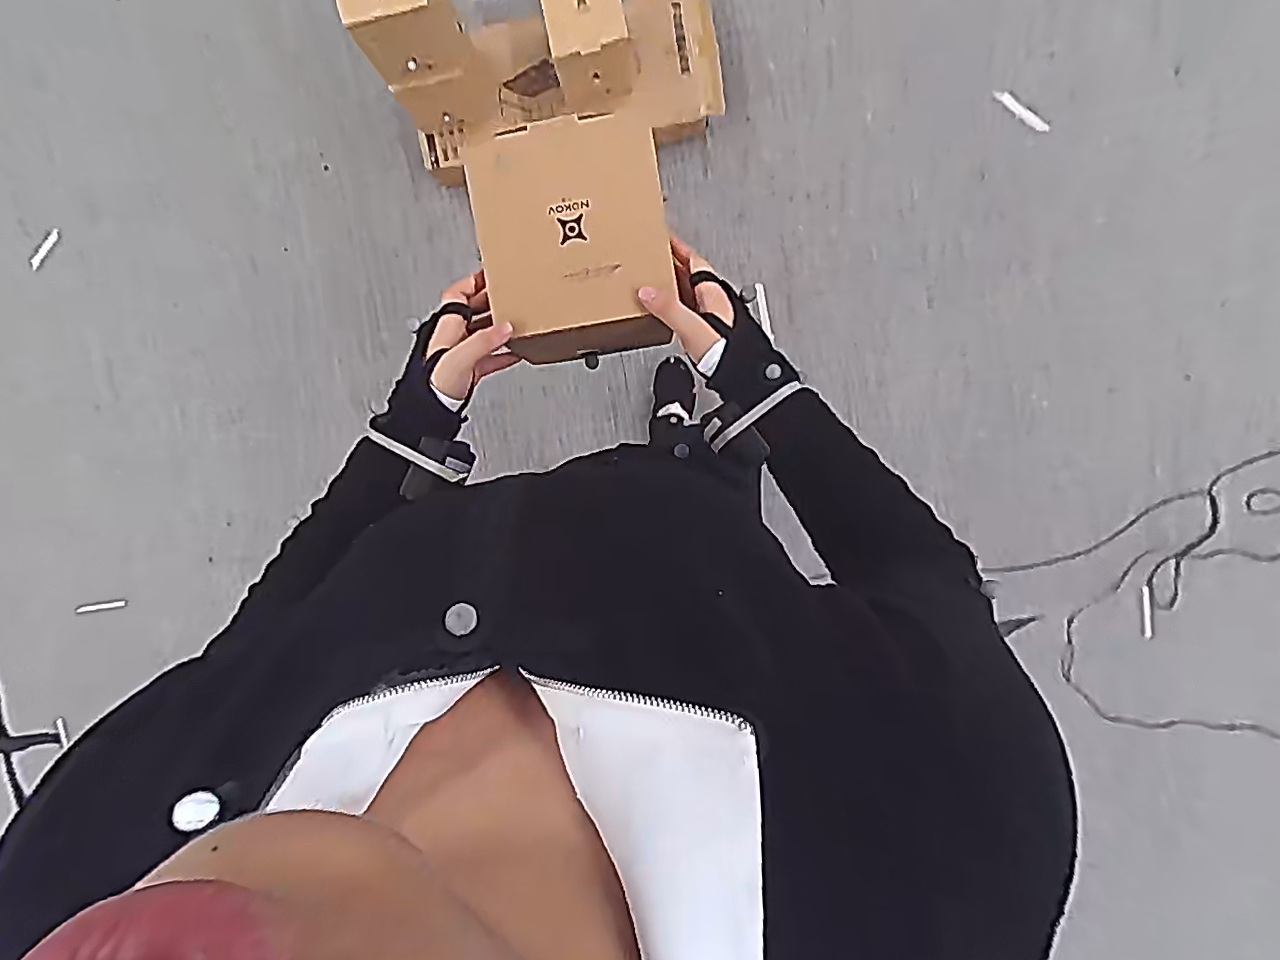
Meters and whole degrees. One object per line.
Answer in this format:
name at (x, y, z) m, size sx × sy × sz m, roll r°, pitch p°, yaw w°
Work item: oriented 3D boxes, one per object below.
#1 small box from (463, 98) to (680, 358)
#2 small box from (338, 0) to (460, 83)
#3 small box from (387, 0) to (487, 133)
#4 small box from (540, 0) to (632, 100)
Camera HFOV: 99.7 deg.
small box at (-0.058, -0.233, 0.545) m, size 0.168 × 0.176 × 0.179 m, roll -10°, pitch 95°, yaw 2°
small box at (-0.472, -0.927, 1.051) m, size 0.168 × 0.176 × 0.179 m, roll -11°, pitch 95°, yaw 3°
small box at (-0.461, -0.926, 1.215) m, size 0.168 × 0.176 × 0.179 m, roll -9°, pitch 95°, yaw 3°
small box at (-0.116, -0.982, 1.198) m, size 0.168 × 0.176 × 0.179 m, roll -10°, pitch 95°, yaw 5°
